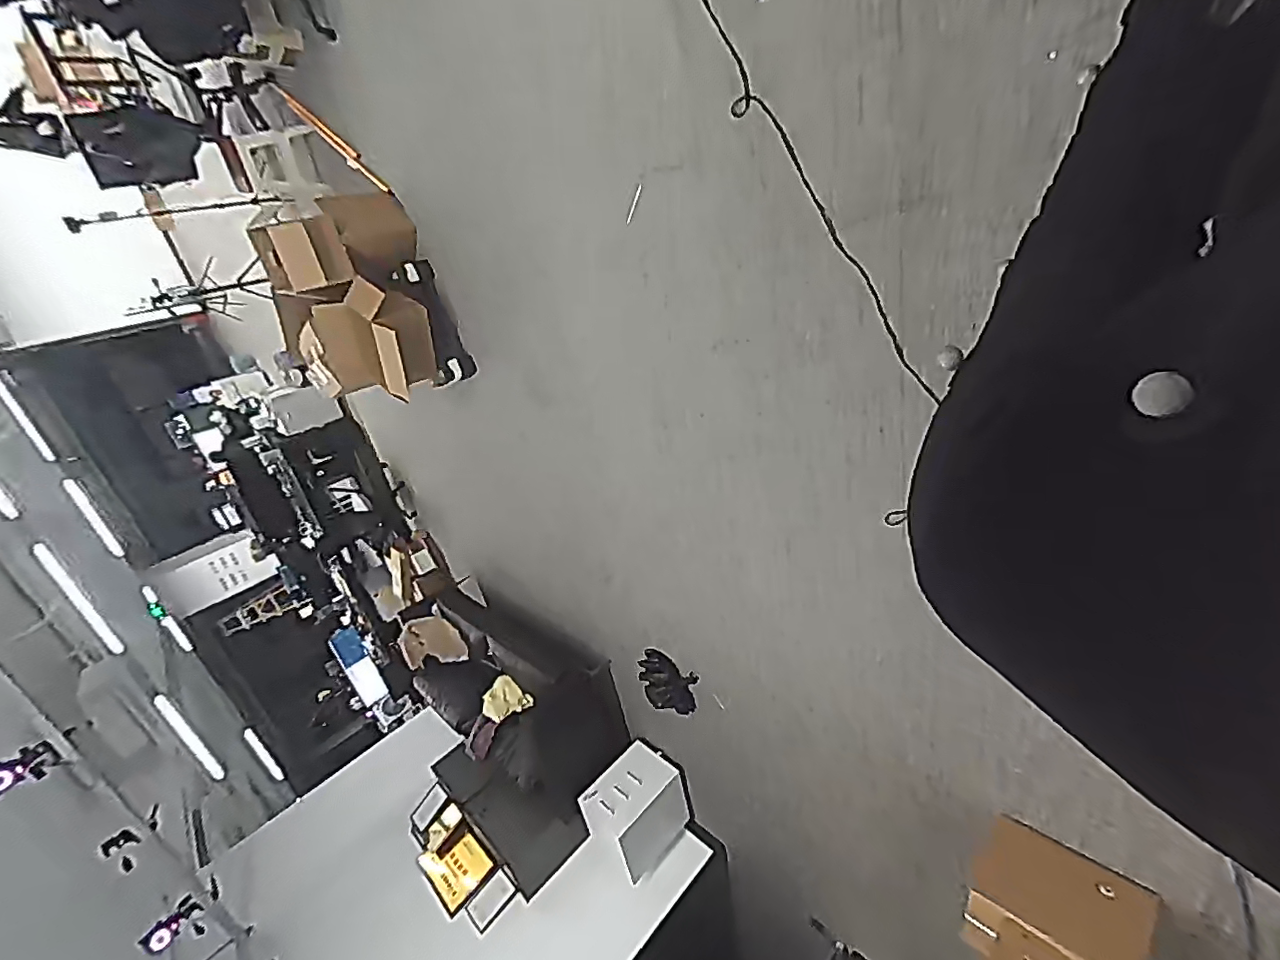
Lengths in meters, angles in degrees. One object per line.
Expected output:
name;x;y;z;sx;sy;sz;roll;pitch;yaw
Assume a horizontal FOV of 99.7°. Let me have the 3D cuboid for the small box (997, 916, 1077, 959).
small box;1.130;1.417;1.551;0.168;0.176;0.179;17;127;44
